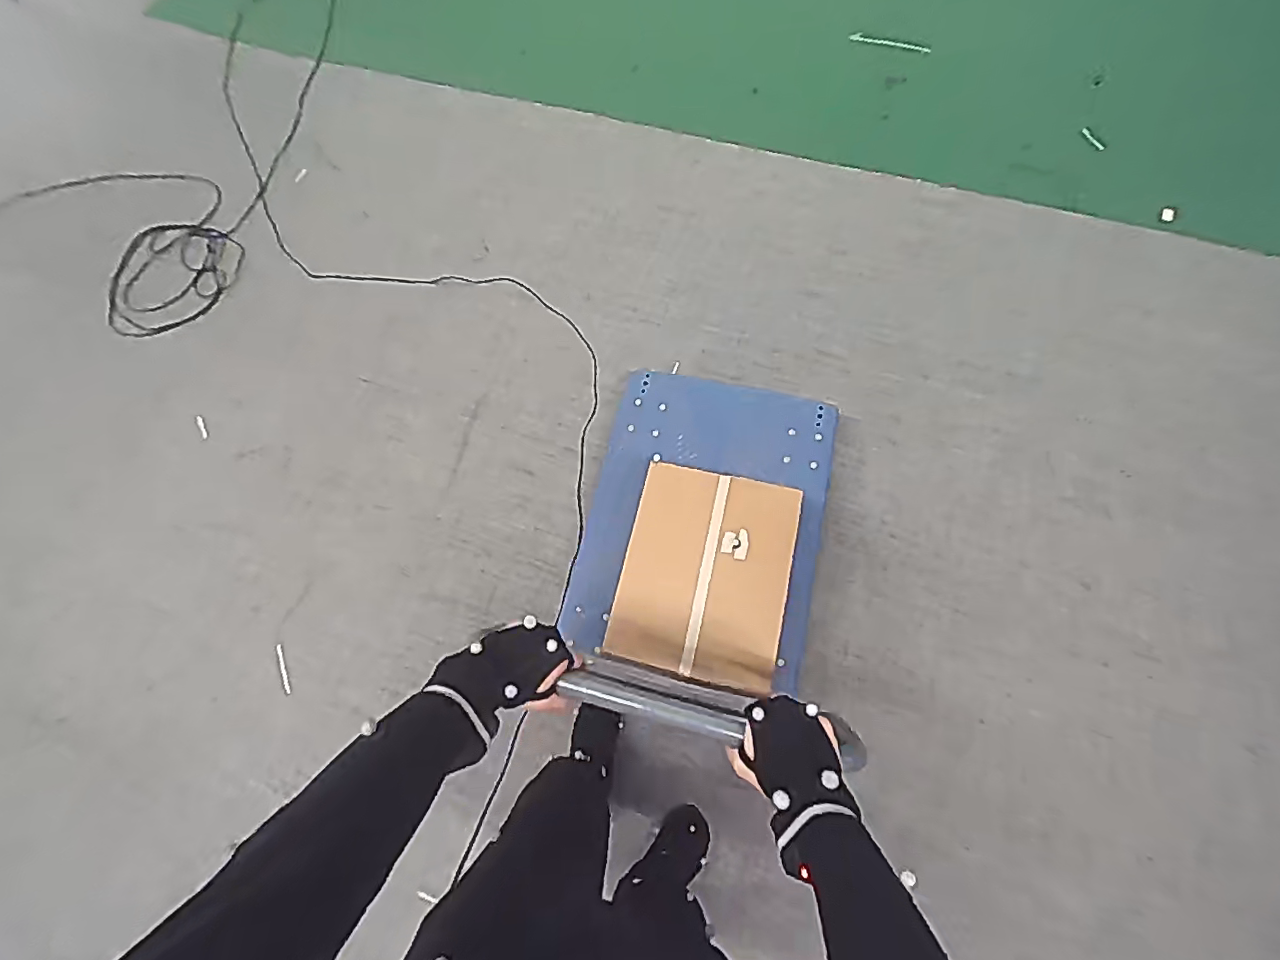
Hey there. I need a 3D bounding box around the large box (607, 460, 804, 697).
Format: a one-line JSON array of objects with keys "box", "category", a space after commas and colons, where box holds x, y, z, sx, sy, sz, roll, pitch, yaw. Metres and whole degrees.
[{"box": [0.143, 0.222, 1.162, 0.320, 0.320, 0.408, 12, 71, 8], "category": "large box"}]
